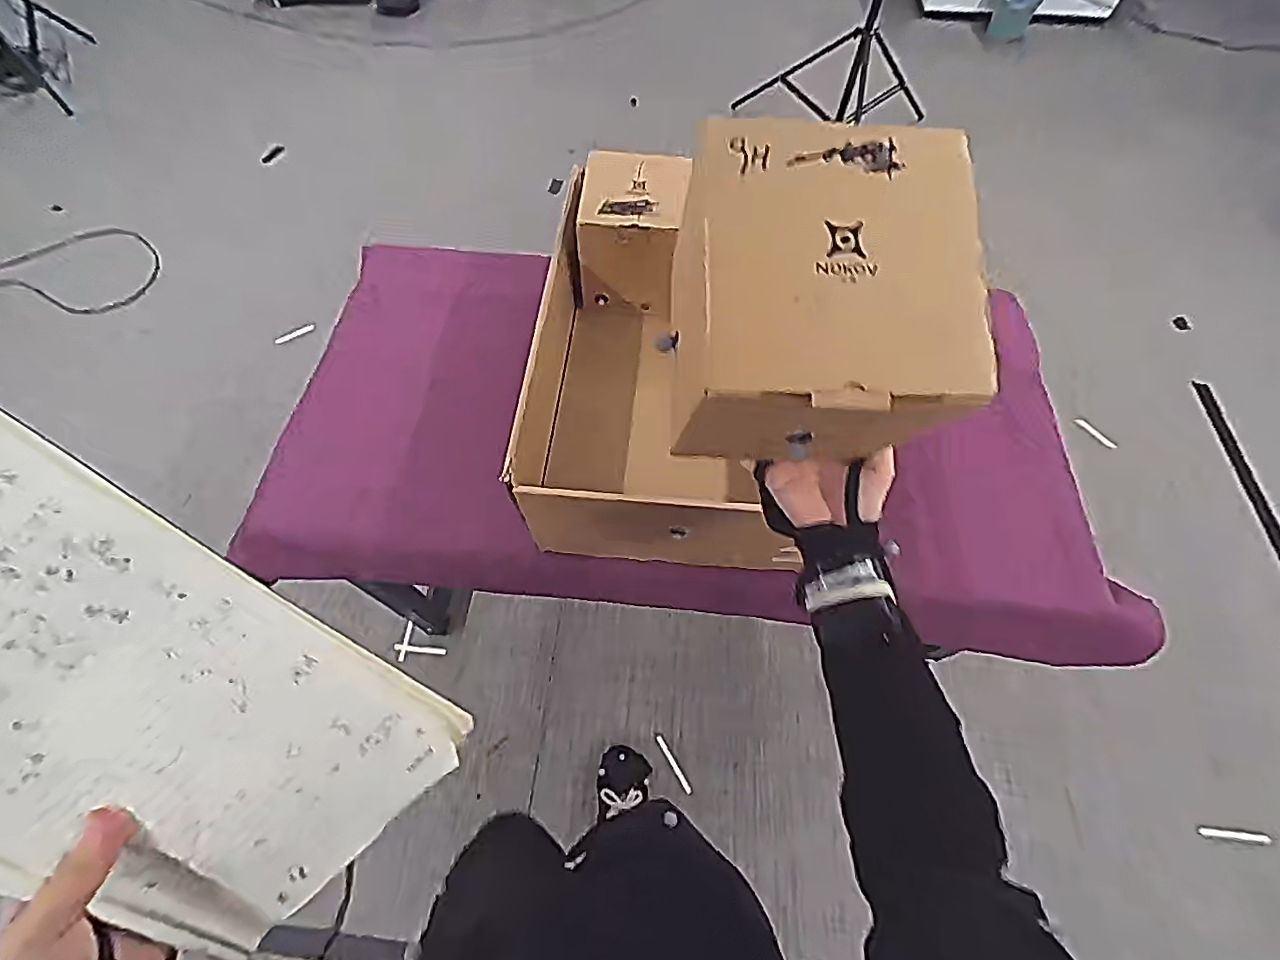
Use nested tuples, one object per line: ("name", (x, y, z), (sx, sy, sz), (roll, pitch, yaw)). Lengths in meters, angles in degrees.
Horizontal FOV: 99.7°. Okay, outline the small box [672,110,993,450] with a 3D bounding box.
("small box", (0.115, -0.121, 0.392), (0.168, 0.176, 0.179), (1, 81, -4))
